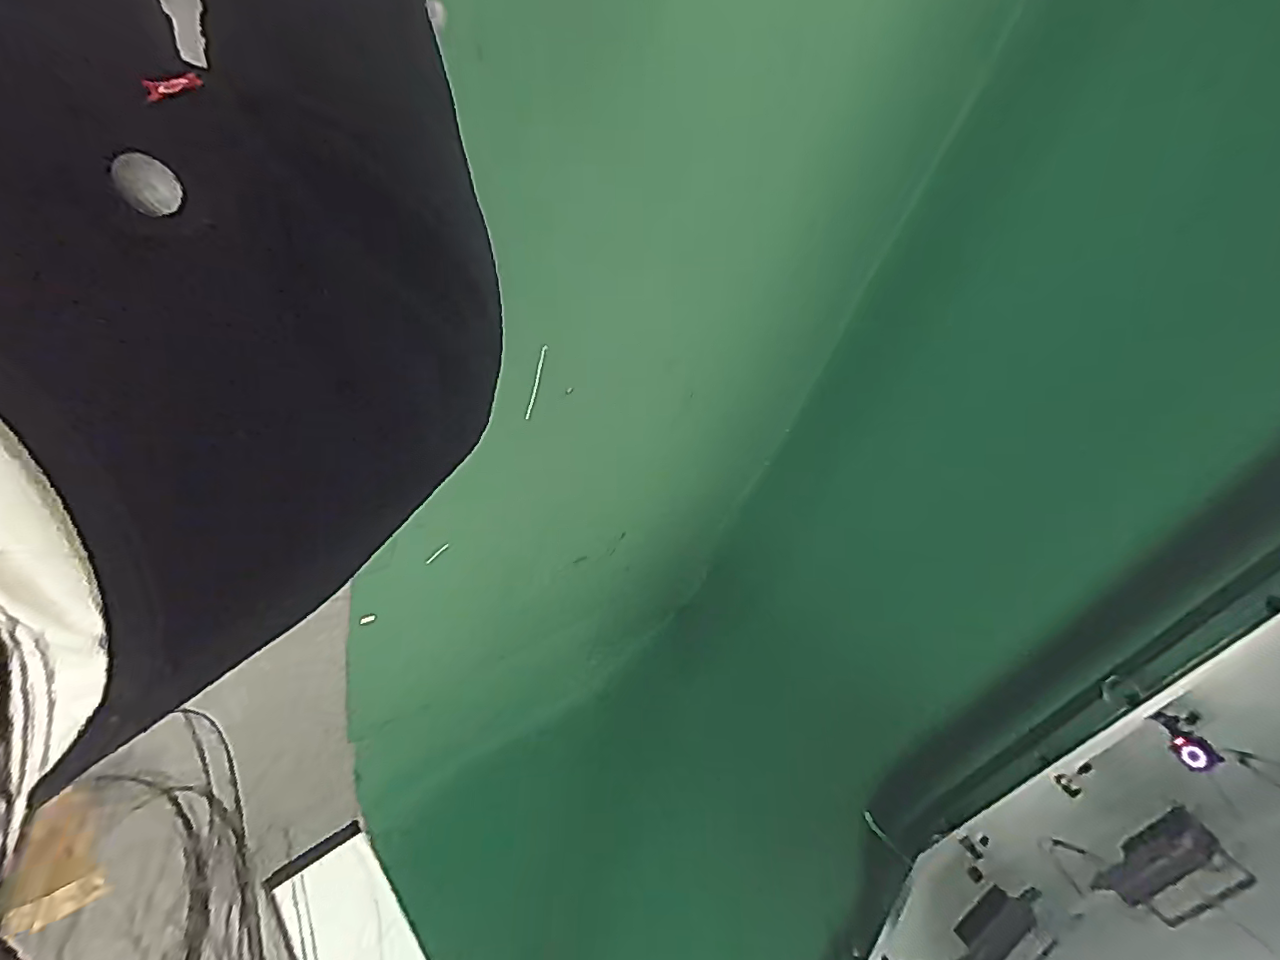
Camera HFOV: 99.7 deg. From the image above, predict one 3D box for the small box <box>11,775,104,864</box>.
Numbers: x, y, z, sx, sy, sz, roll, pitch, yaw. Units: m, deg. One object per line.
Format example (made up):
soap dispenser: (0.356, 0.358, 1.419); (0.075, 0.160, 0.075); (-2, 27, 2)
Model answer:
small box: (-1.766, 1.050, 1.643); (0.179, 0.176, 0.168); (-15, 137, -49)

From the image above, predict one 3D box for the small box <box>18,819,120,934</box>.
small box: (-1.657, 1.141, 1.568); (0.179, 0.176, 0.168); (-17, 137, -47)
